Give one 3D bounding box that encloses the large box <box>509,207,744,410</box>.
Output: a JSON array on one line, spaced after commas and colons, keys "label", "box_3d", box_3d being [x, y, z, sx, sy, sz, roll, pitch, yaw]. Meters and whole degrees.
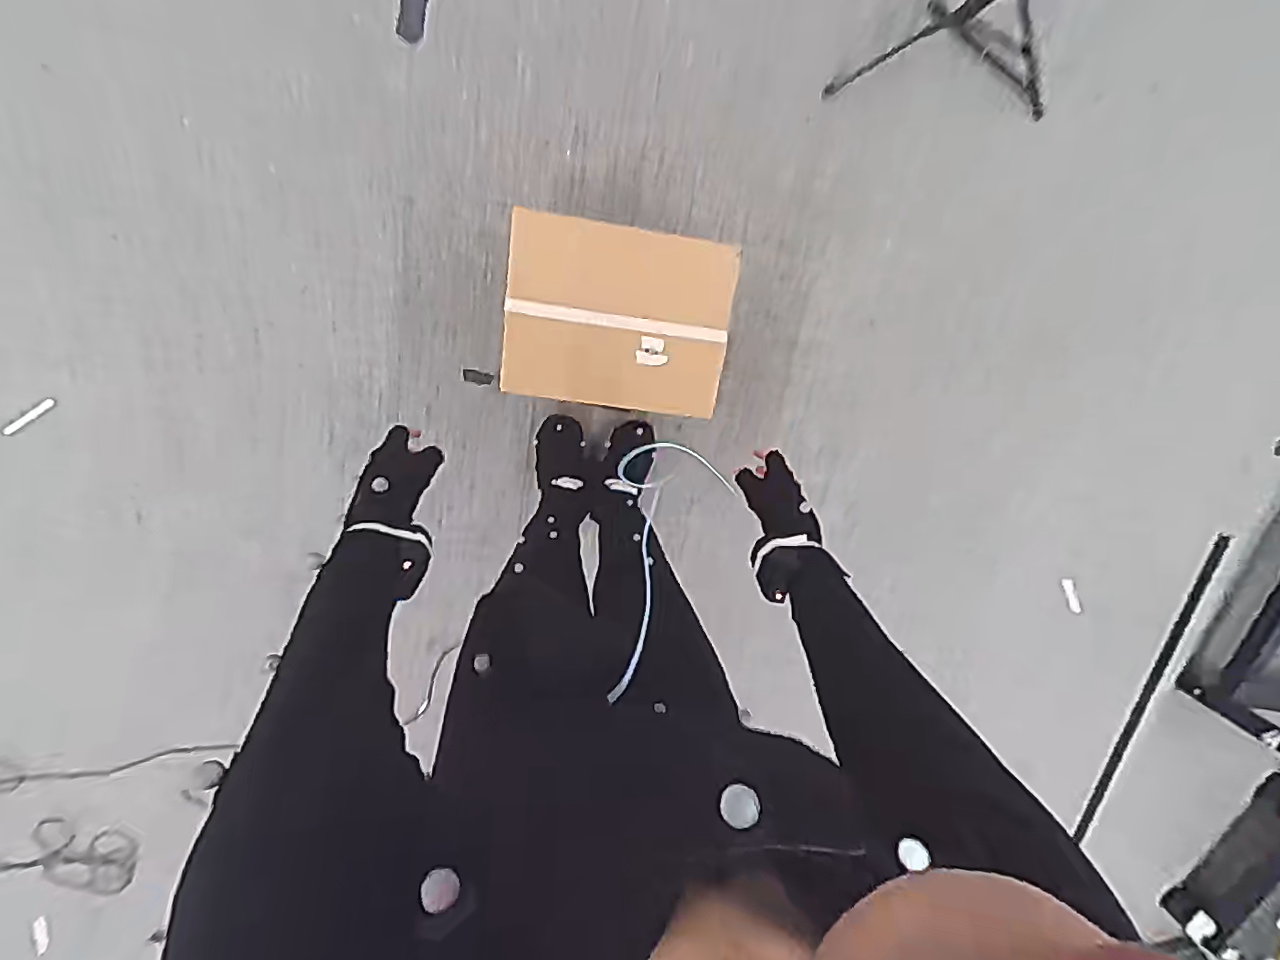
[{"label": "large box", "box_3d": [-0.045, -0.342, 1.126, 0.408, 0.320, 0.320, 7, 107, -8]}]
